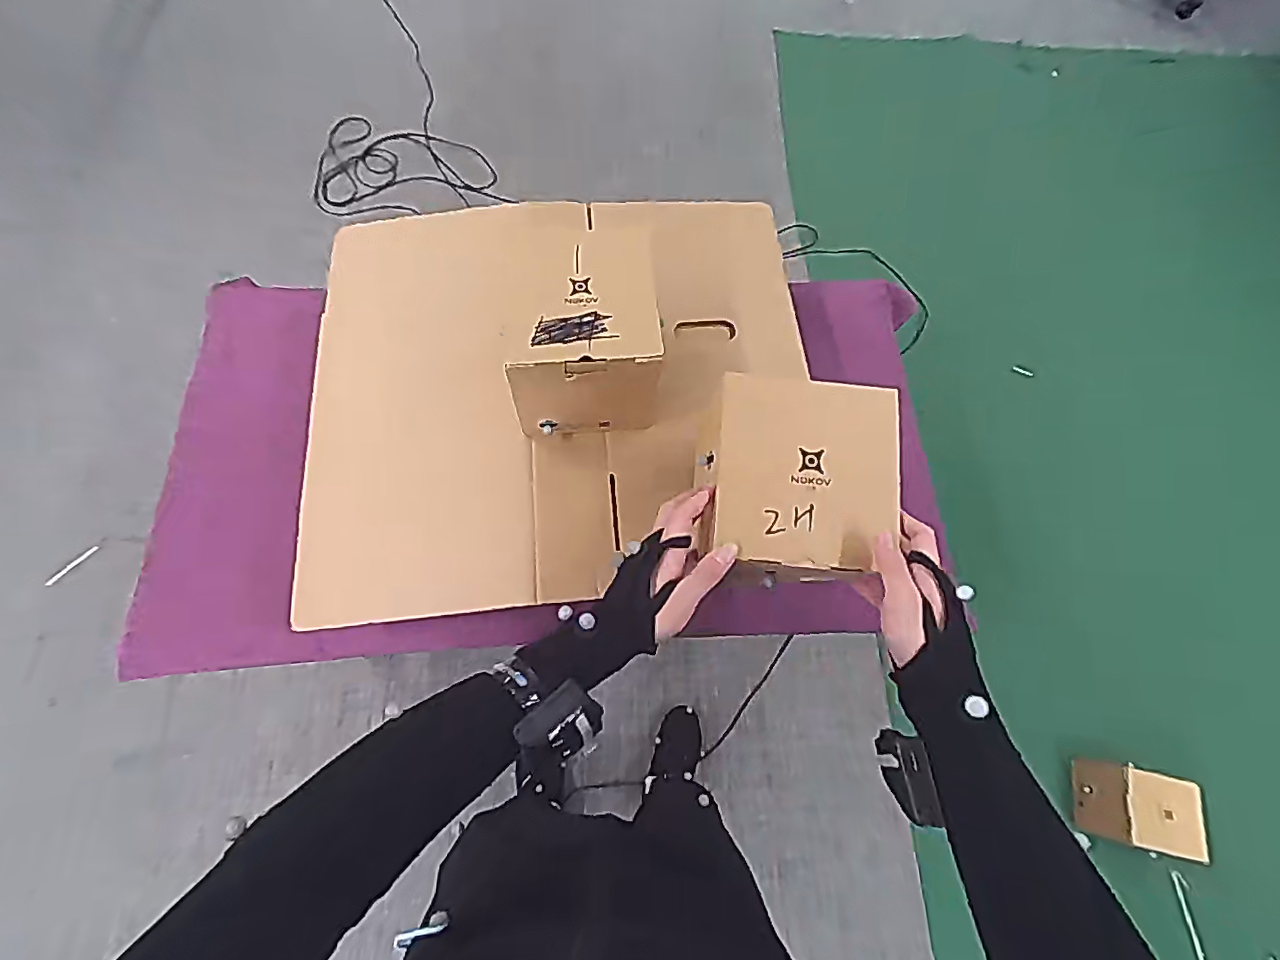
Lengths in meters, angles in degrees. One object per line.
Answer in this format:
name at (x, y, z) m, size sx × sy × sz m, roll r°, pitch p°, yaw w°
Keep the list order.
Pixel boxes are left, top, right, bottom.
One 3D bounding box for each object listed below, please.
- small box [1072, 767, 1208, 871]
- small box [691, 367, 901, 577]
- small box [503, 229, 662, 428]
small box at (1.212, 0.818, 1.324) m, size 0.179 × 0.176 × 0.168 m, roll 13°, pitch 69°, yaw 3°
small box at (0.150, 0.004, 0.564) m, size 0.168 × 0.176 × 0.179 m, roll 6°, pitch 78°, yaw -1°
small box at (-0.069, -0.171, 0.652) m, size 0.168 × 0.176 × 0.179 m, roll -4°, pitch 69°, yaw -6°
